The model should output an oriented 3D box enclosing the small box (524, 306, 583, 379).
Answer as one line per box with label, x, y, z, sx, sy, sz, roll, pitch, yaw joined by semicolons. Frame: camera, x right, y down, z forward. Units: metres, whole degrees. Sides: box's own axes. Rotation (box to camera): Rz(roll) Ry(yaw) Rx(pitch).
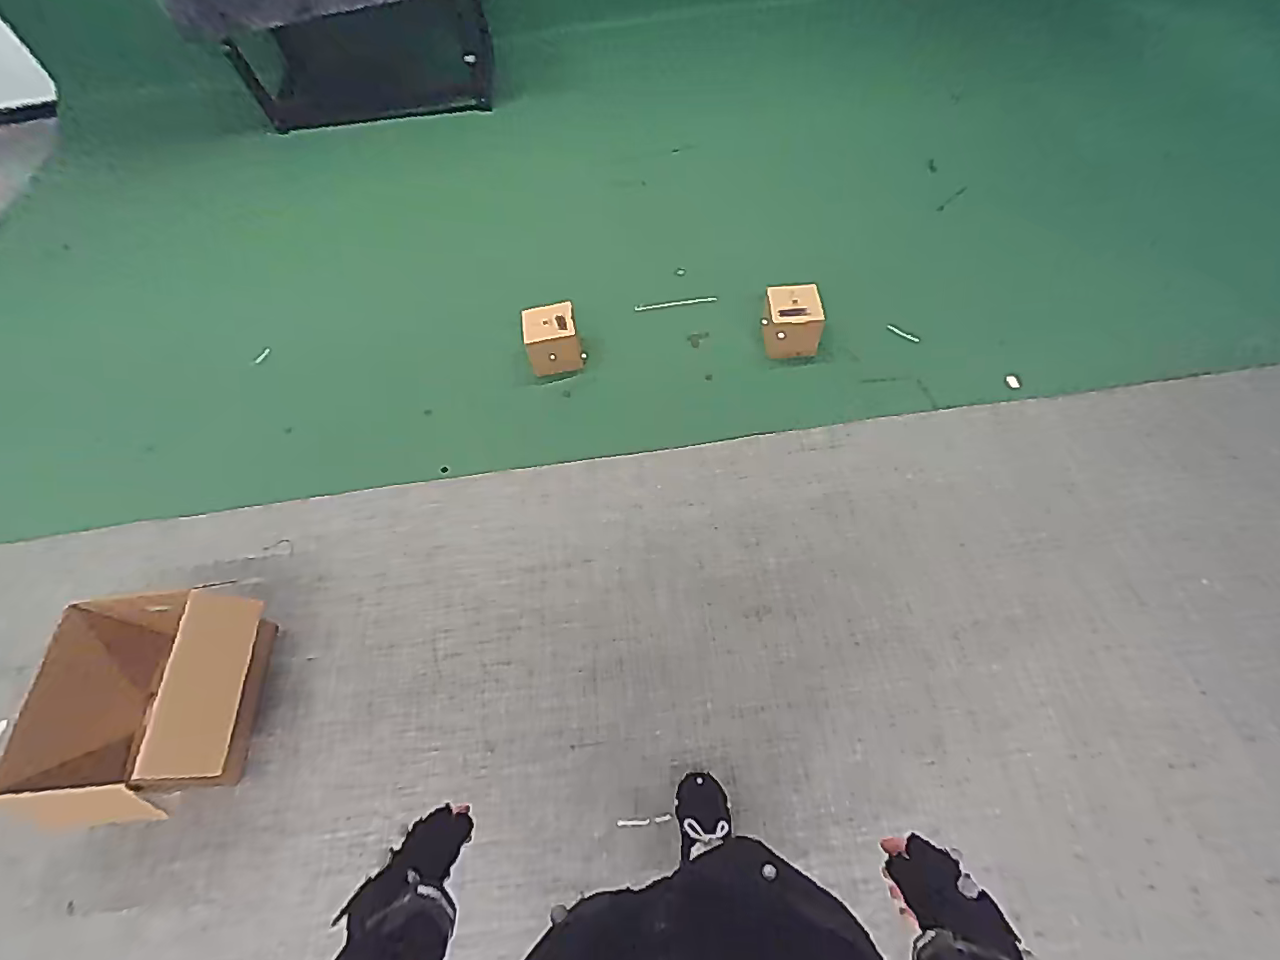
small box;-0.299;-0.481;1.900;0.179;0.176;0.168;-10;59;0
